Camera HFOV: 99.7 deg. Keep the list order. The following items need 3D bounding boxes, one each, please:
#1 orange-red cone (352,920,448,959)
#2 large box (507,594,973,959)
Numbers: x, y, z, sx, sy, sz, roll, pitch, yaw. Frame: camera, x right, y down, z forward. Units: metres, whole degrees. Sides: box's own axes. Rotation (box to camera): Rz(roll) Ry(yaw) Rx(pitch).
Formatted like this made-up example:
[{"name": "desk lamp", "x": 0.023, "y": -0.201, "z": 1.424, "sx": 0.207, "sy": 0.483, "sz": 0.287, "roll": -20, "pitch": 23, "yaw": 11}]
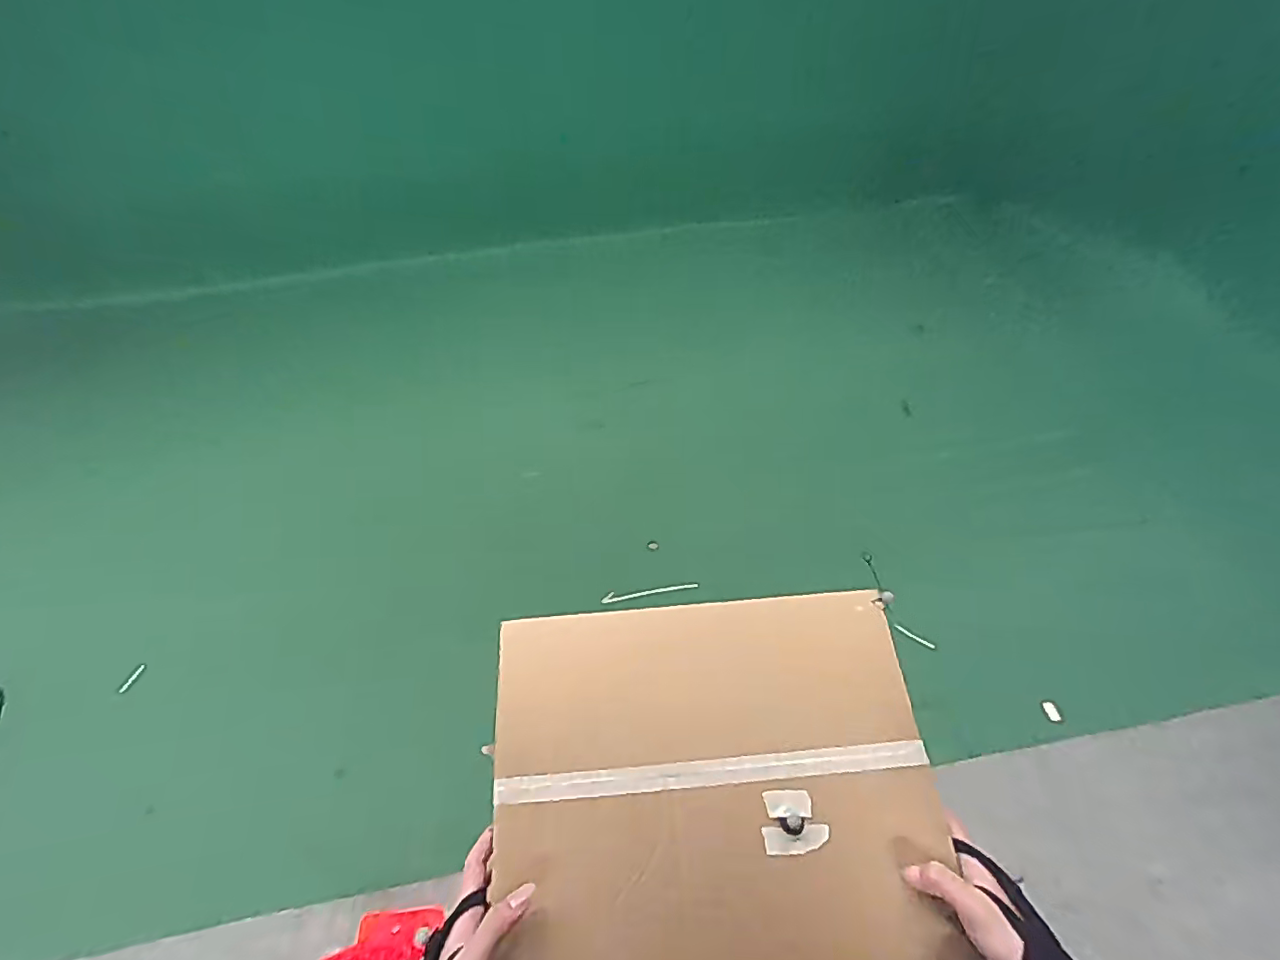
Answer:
[{"name": "orange-red cone", "x": -0.547, "y": 0.992, "z": 1.067, "sx": 0.199, "sy": 0.360, "sz": 0.198, "roll": -5, "pitch": 49, "yaw": 1}, {"name": "large box", "x": 0.073, "y": 0.349, "z": 0.648, "sx": 0.408, "sy": 0.320, "sz": 0.320, "roll": -5, "pitch": 63, "yaw": -2}]
